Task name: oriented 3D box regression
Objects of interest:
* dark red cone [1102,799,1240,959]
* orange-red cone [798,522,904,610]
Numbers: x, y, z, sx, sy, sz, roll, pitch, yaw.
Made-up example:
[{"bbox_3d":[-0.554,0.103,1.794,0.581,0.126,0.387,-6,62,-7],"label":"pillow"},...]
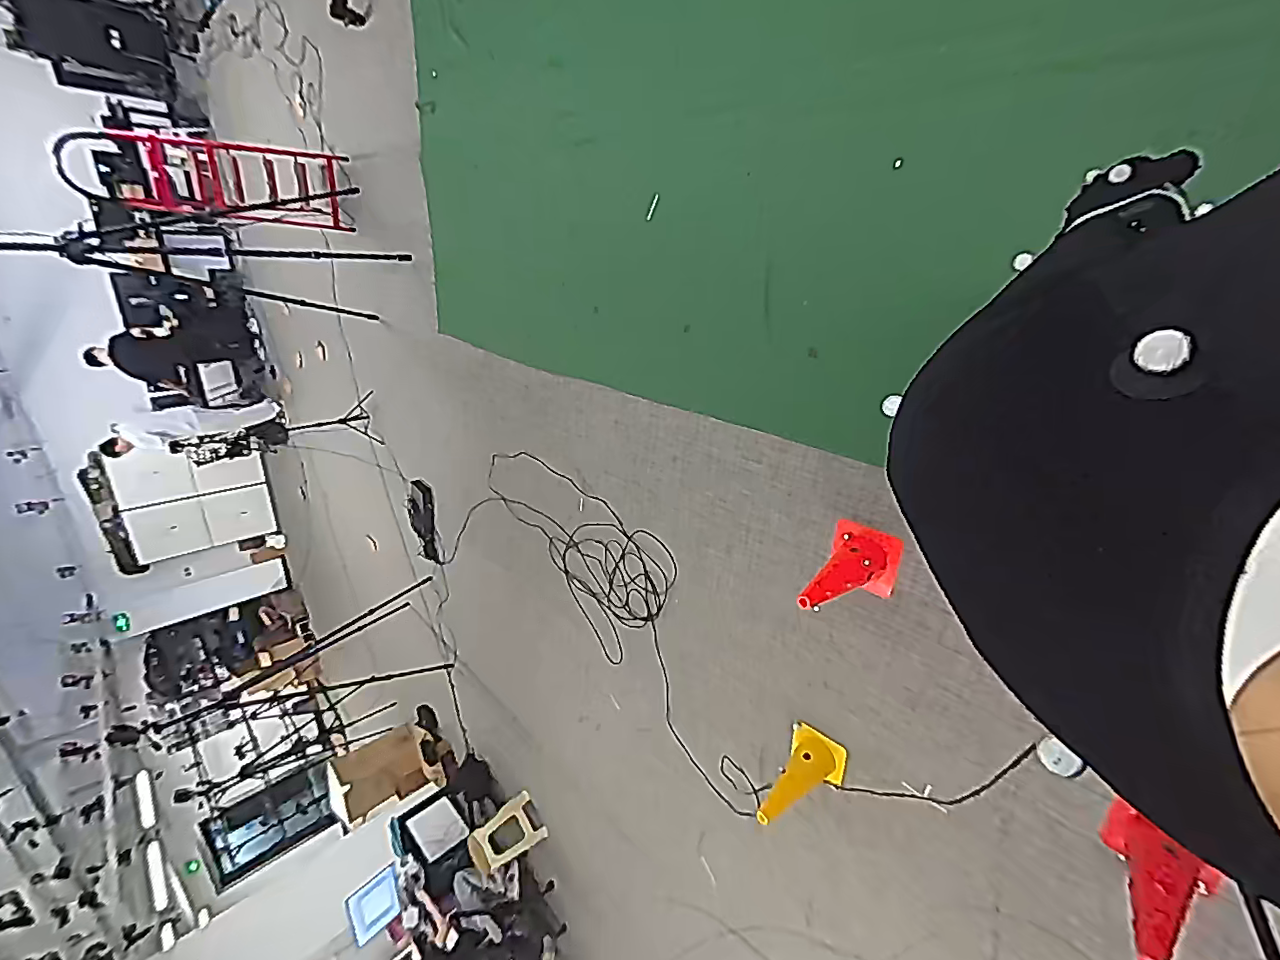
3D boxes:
[{"bbox_3d":[1.083,0.889,1.127,0.202,0.394,0.201,17,115,43],"label":"dark red cone"},{"bbox_3d":[0.557,0.283,1.519,0.198,0.360,0.199,25,122,41],"label":"orange-red cone"}]
